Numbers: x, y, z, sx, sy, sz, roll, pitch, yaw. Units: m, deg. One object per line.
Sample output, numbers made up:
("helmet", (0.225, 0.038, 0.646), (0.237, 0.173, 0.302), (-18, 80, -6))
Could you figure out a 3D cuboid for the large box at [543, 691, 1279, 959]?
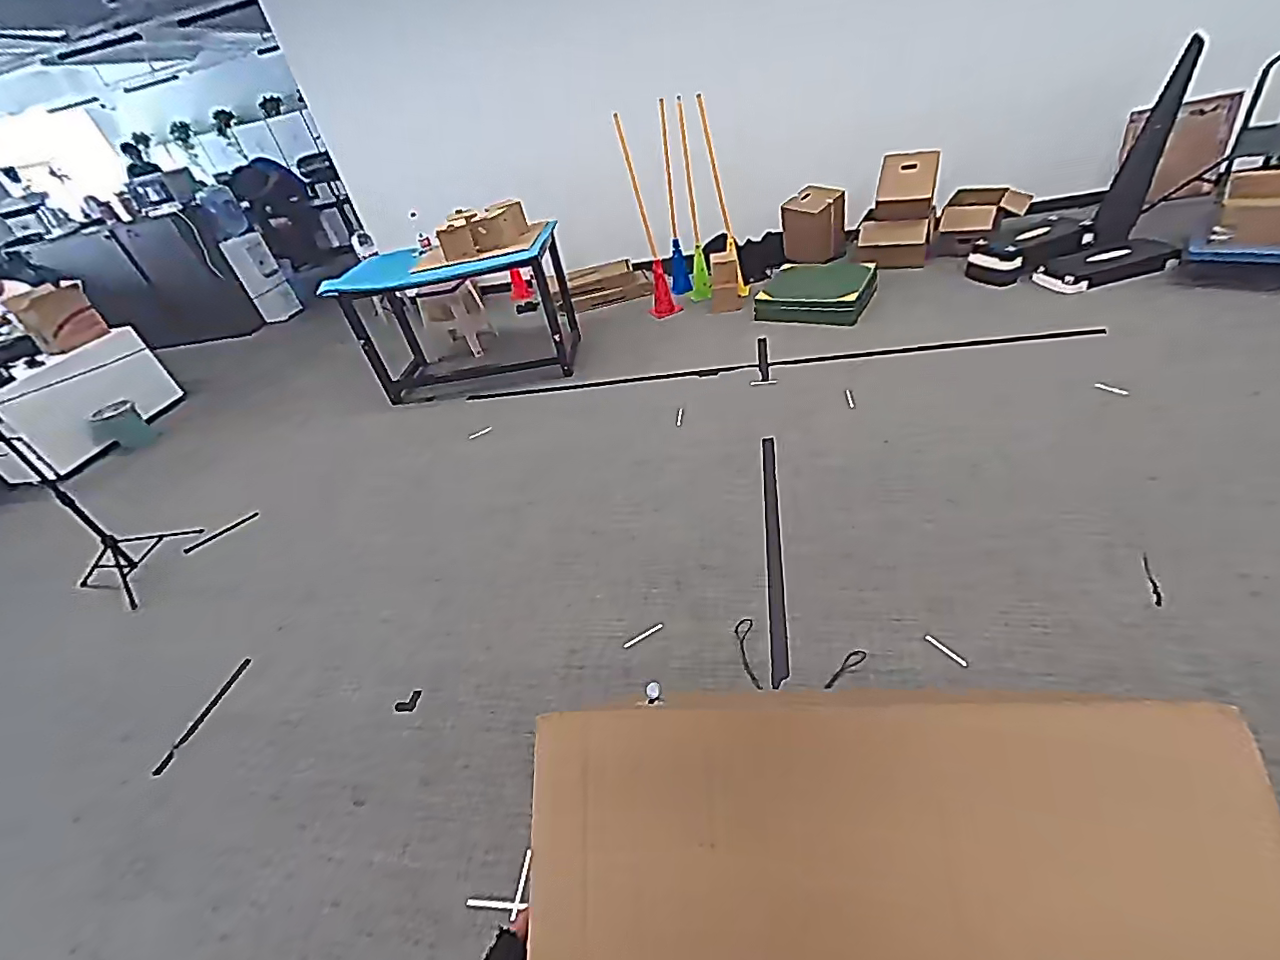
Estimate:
("large box", (0.163, 0.340, 0.427), (0.408, 0.320, 0.320), (-5, 71, 10))
